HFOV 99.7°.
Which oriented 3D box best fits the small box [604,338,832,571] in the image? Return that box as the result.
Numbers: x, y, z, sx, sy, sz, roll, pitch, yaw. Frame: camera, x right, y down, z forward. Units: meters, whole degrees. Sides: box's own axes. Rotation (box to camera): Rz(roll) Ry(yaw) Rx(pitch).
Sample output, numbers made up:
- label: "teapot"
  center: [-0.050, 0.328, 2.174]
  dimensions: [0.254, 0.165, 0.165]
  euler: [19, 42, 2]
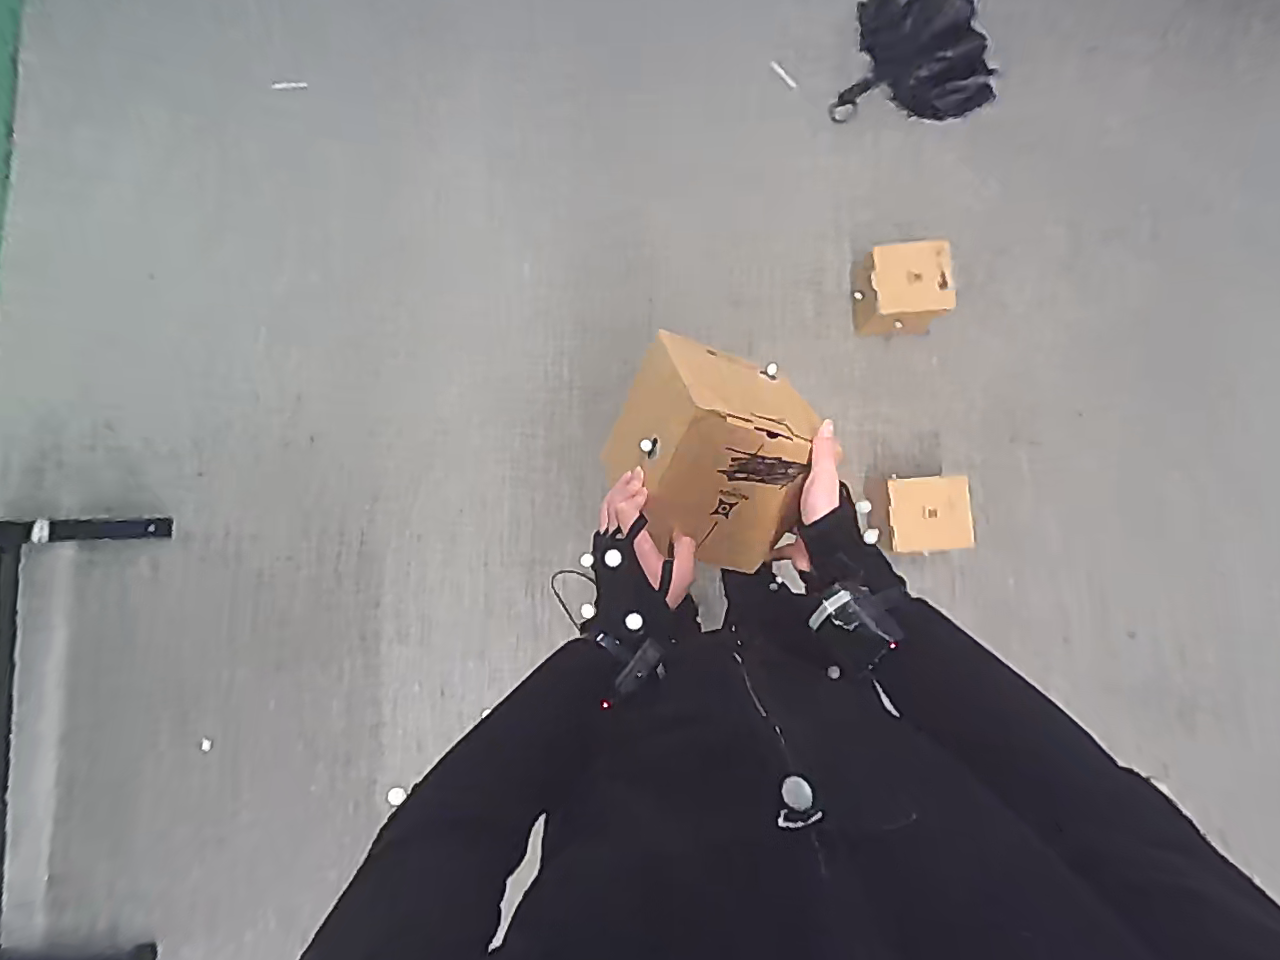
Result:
- label: "small box"
  center: [0.067, -0.030, 0.594]
  dimensions: [0.168, 0.176, 0.179]
  euler: [14, 123, -20]

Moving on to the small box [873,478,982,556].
- label: "small box"
  center: [0.666, 0.088, 1.276]
  dimensions: [0.179, 0.176, 0.168]
  euler: [-5, 86, 4]

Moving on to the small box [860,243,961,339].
- label: "small box"
  center: [0.649, -0.452, 1.319]
  dimensions: [0.179, 0.176, 0.168]
  euler: [-3, 86, 6]
